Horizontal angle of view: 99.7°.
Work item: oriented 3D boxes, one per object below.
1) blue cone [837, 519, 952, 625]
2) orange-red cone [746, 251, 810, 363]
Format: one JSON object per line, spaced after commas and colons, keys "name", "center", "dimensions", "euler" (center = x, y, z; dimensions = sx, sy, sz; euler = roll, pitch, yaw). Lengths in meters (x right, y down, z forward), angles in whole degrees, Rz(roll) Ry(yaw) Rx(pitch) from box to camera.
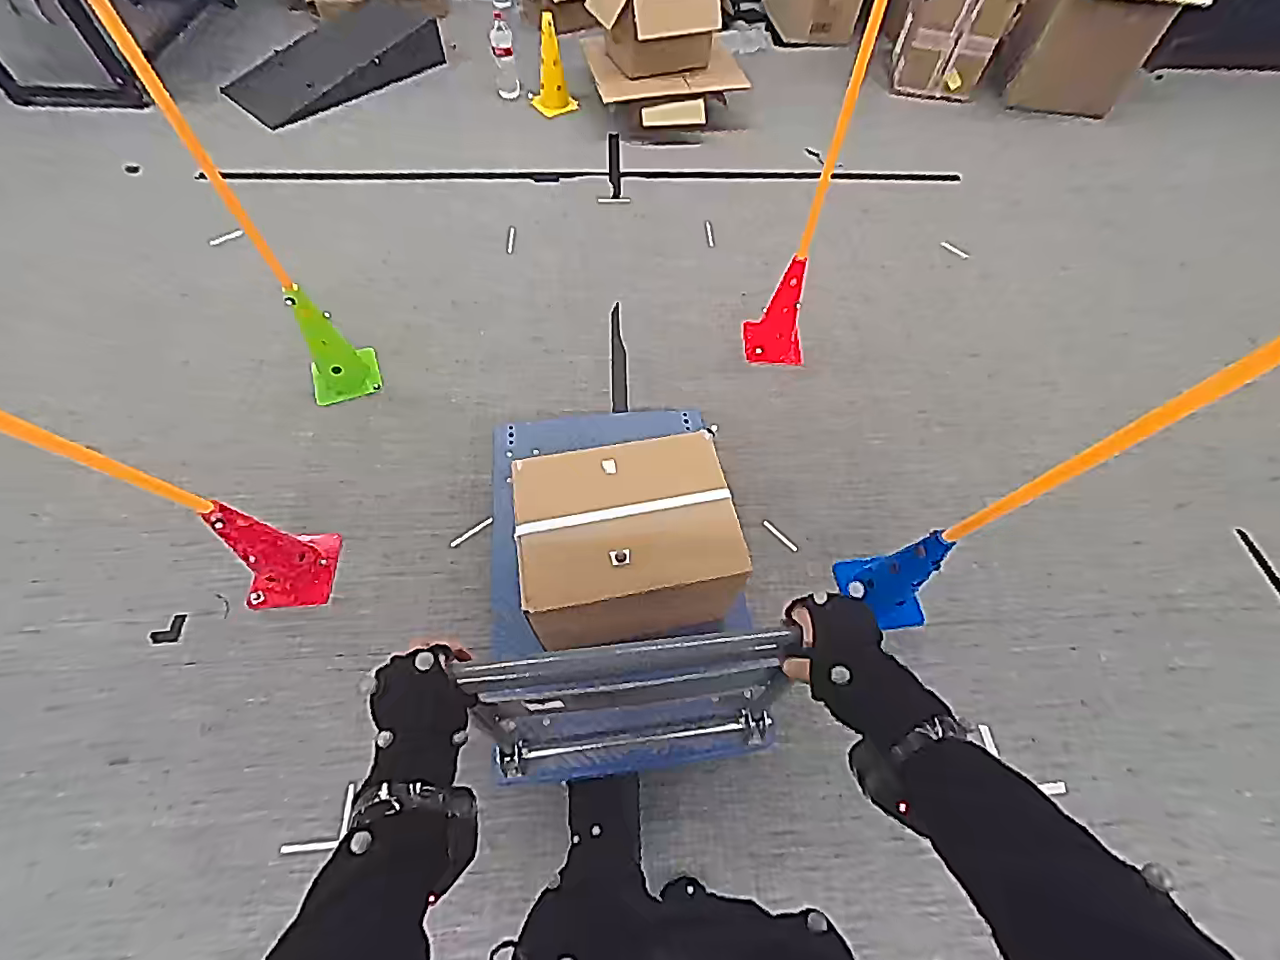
{"name": "blue cone", "center": [0.648, 0.205, 1.312], "dimensions": [0.193, 0.380, 0.192], "euler": [-5, 59, -6]}
{"name": "orange-red cone", "center": [0.478, -0.577, 1.747], "dimensions": [0.199, 0.360, 0.198], "euler": [5, 60, -1]}
